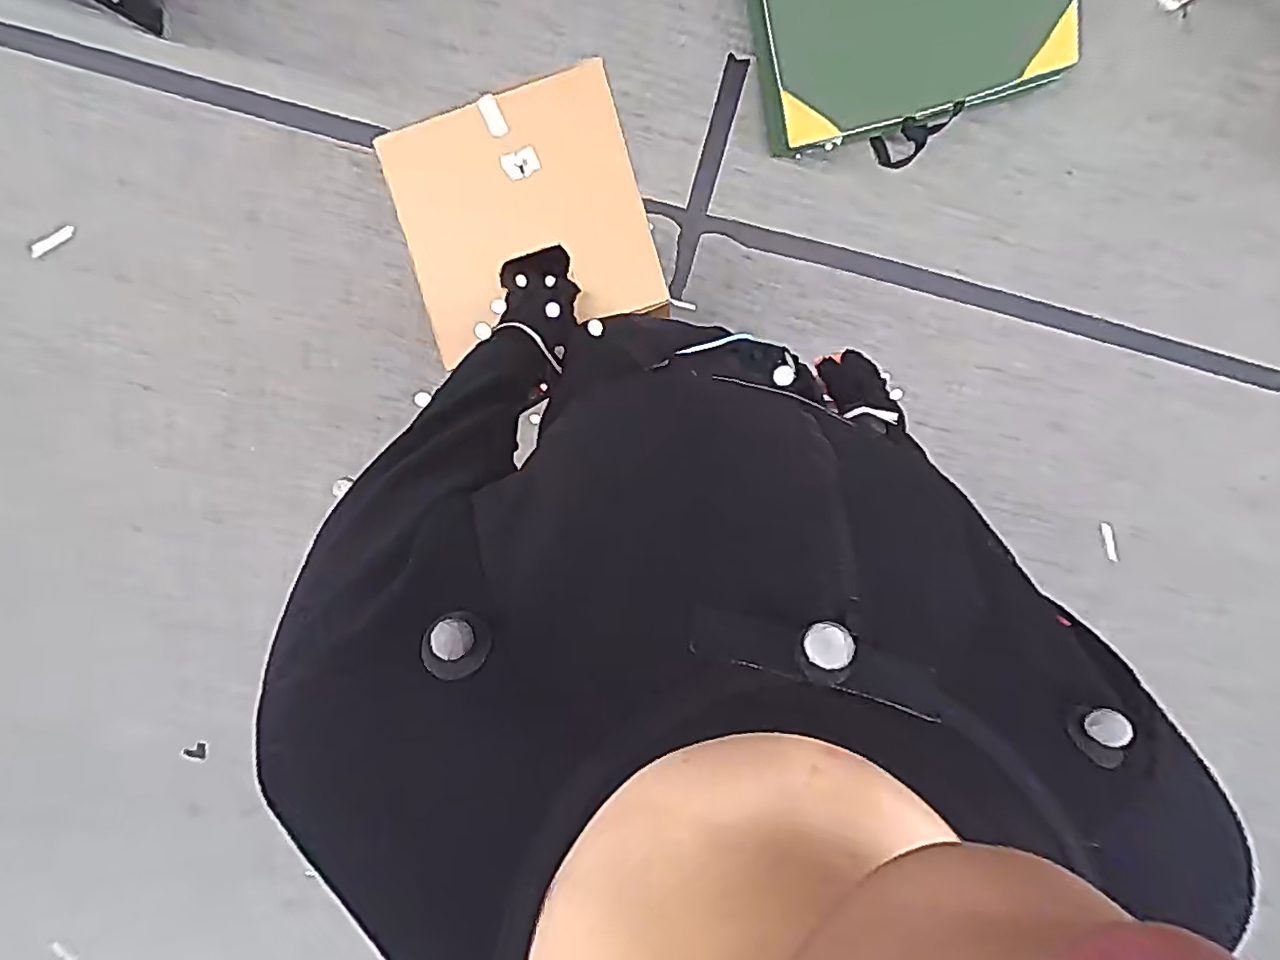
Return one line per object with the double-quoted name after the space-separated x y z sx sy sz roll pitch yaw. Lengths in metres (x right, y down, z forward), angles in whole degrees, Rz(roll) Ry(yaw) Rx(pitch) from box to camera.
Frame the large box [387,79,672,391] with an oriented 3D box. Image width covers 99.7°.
-0.137 -0.349 0.900 0.320 0.408 0.320 -15 95 5 "large box"
